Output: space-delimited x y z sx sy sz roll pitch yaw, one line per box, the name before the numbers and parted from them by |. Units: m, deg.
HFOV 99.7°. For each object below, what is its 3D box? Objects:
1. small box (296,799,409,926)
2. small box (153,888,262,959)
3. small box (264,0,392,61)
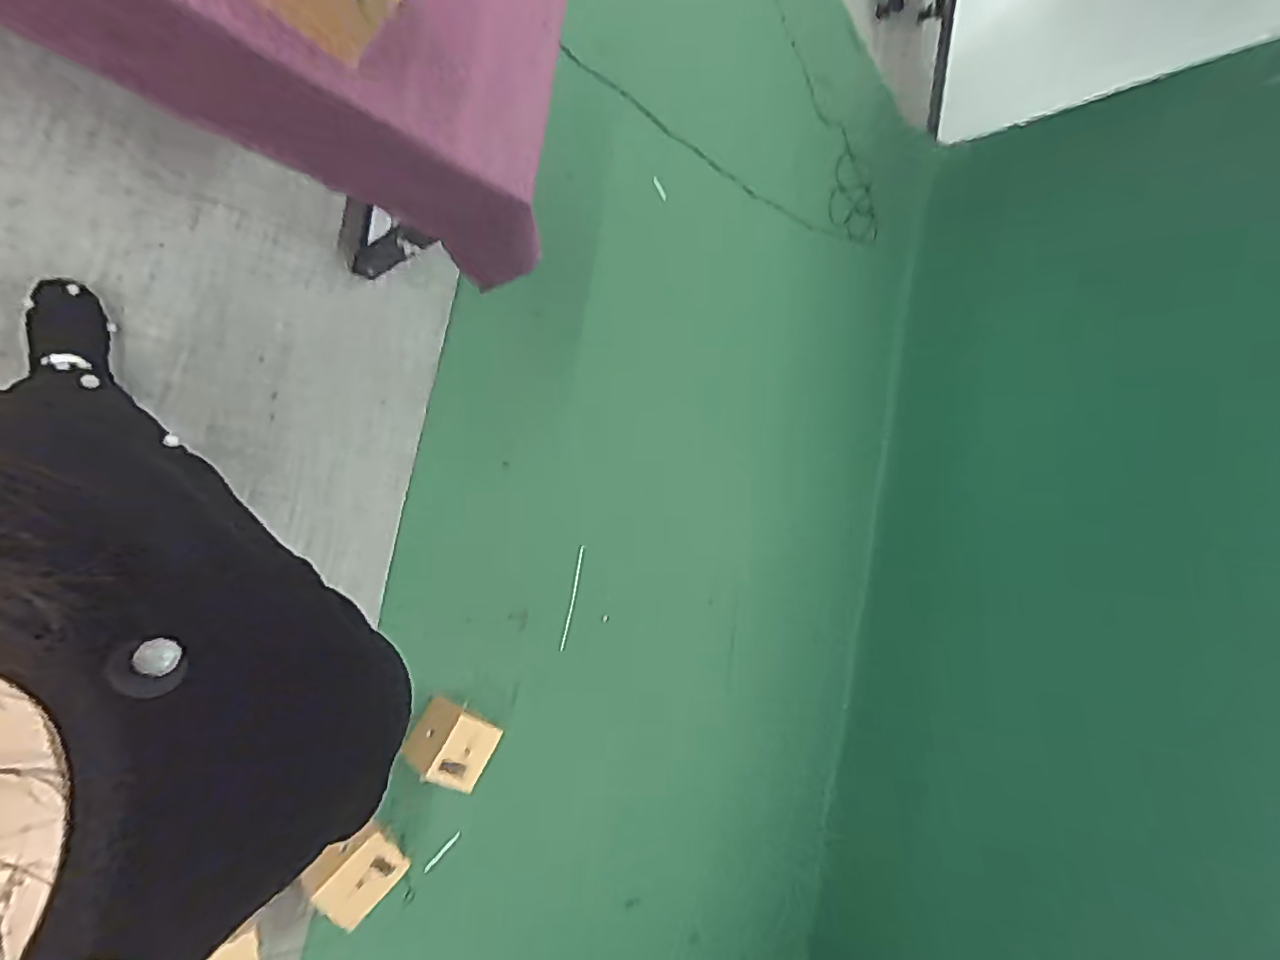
small box | -0.739 0.969 1.386 0.179 0.176 0.168 -41 121 -33
small box | -0.949 1.052 1.190 0.168 0.176 0.179 -9 100 -43
small box | -0.355 -0.618 0.587 0.179 0.176 0.168 21 80 -44
